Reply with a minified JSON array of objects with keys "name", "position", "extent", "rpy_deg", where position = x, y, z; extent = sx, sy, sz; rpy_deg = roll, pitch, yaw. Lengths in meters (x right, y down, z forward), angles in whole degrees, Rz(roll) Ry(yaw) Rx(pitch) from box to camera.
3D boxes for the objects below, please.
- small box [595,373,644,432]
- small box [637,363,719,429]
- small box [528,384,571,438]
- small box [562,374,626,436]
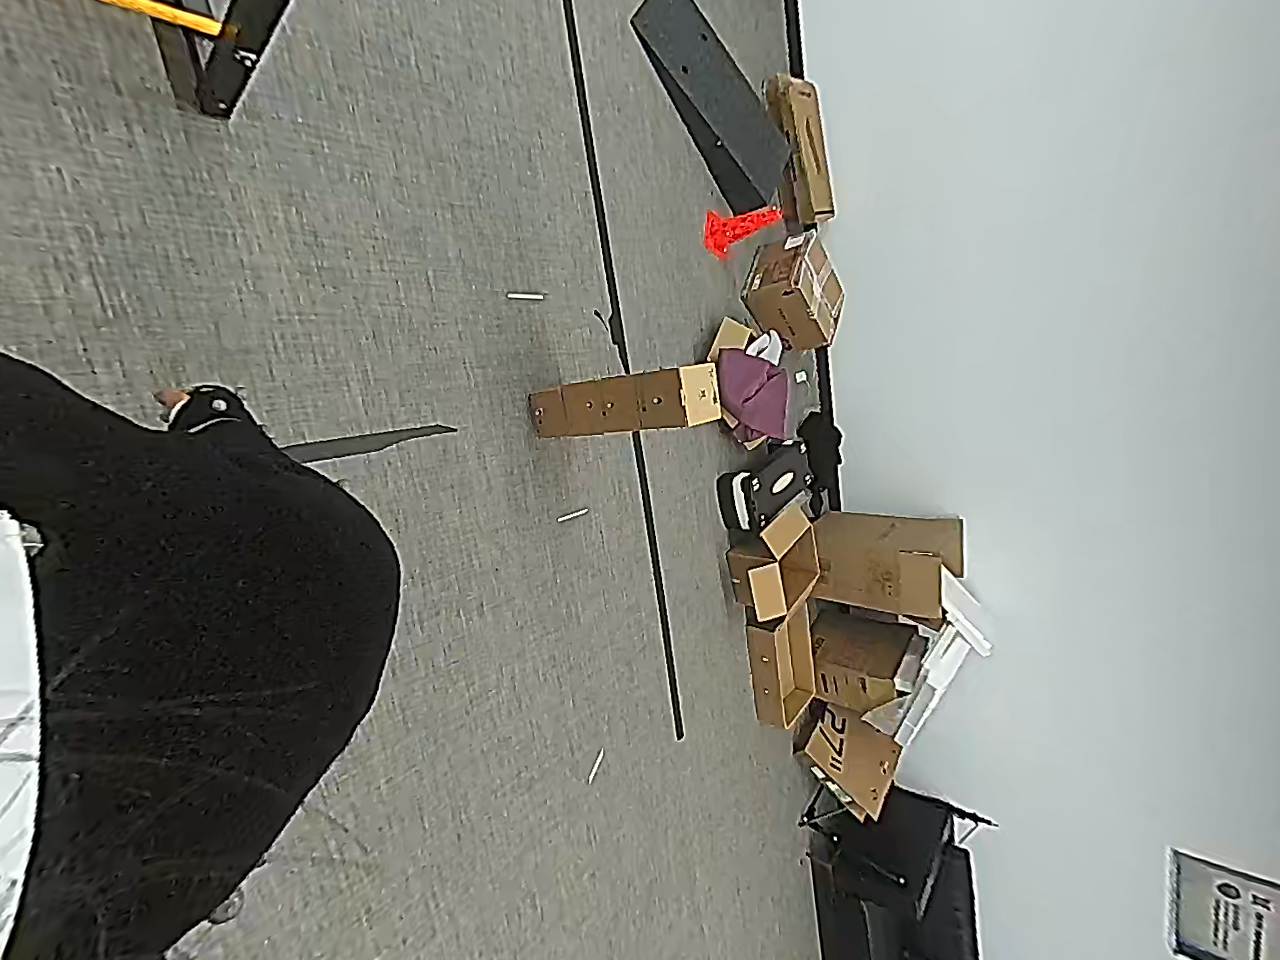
[{"name":"small box","position":[-0.016,-0.243,1.686],"extent":[0.179,0.176,0.168],"rpy_deg":[-16,102,-47]},{"name":"small box","position":[0.105,-0.244,1.575],"extent":[0.179,0.176,0.168],"rpy_deg":[-19,104,-46]},{"name":"small box","position":[-0.265,-0.249,1.902],"extent":[0.179,0.176,0.168],"rpy_deg":[-26,109,-44]},{"name":"small box","position":[-0.141,-0.248,1.793],"extent":[0.168,0.176,0.179],"rpy_deg":[-20,106,-46]}]
